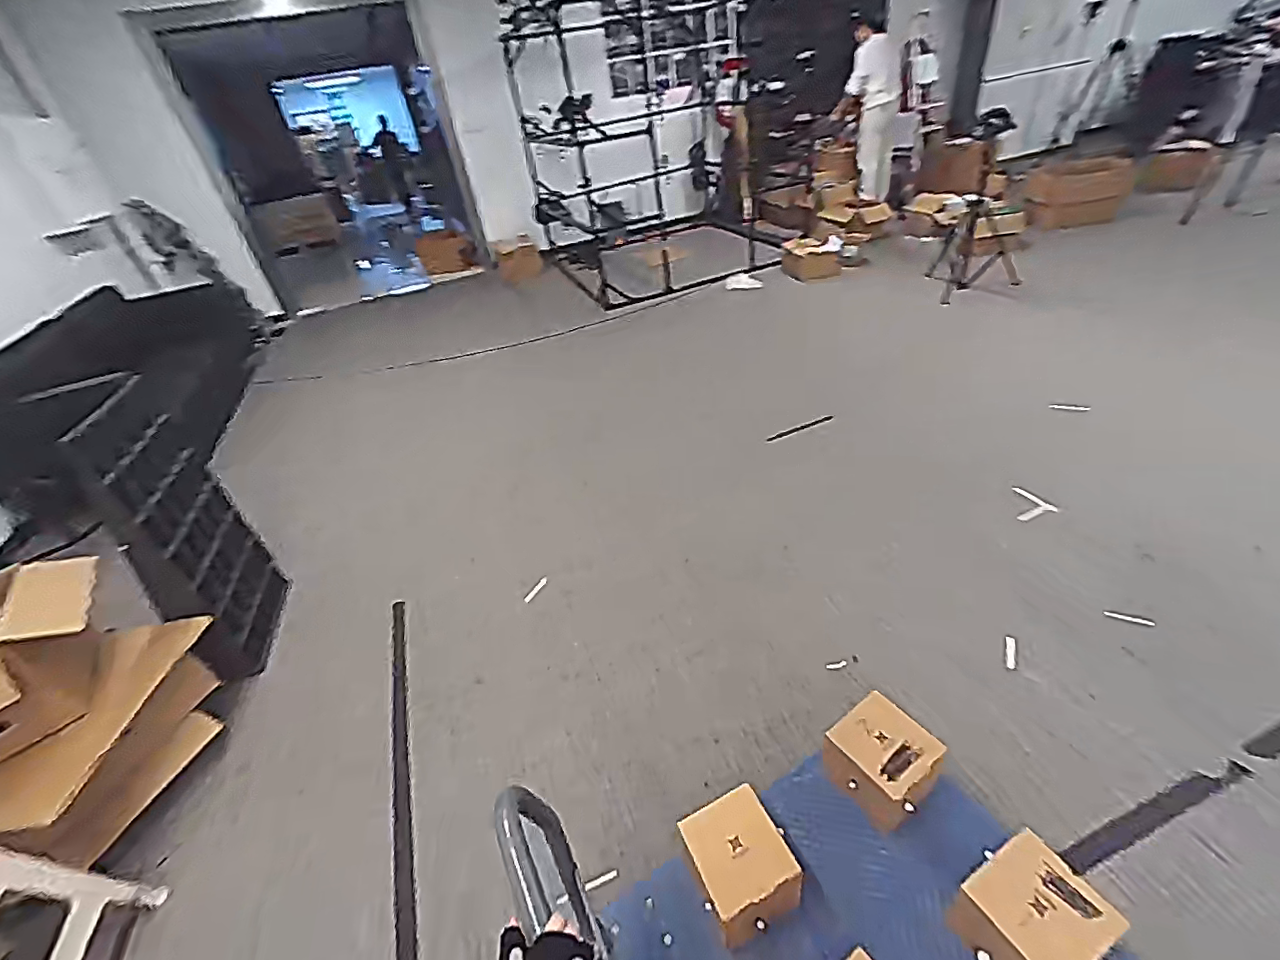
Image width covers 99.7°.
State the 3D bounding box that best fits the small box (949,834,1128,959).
[{"bbox_3d":[0.663,0.761,0.924,0.179,0.176,0.168,-24,38,-17],"label":"small box"}]

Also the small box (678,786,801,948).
[{"bbox_3d":[0.189,0.752,1.054,0.168,0.176,0.179,-21,38,-16],"label":"small box"}]
